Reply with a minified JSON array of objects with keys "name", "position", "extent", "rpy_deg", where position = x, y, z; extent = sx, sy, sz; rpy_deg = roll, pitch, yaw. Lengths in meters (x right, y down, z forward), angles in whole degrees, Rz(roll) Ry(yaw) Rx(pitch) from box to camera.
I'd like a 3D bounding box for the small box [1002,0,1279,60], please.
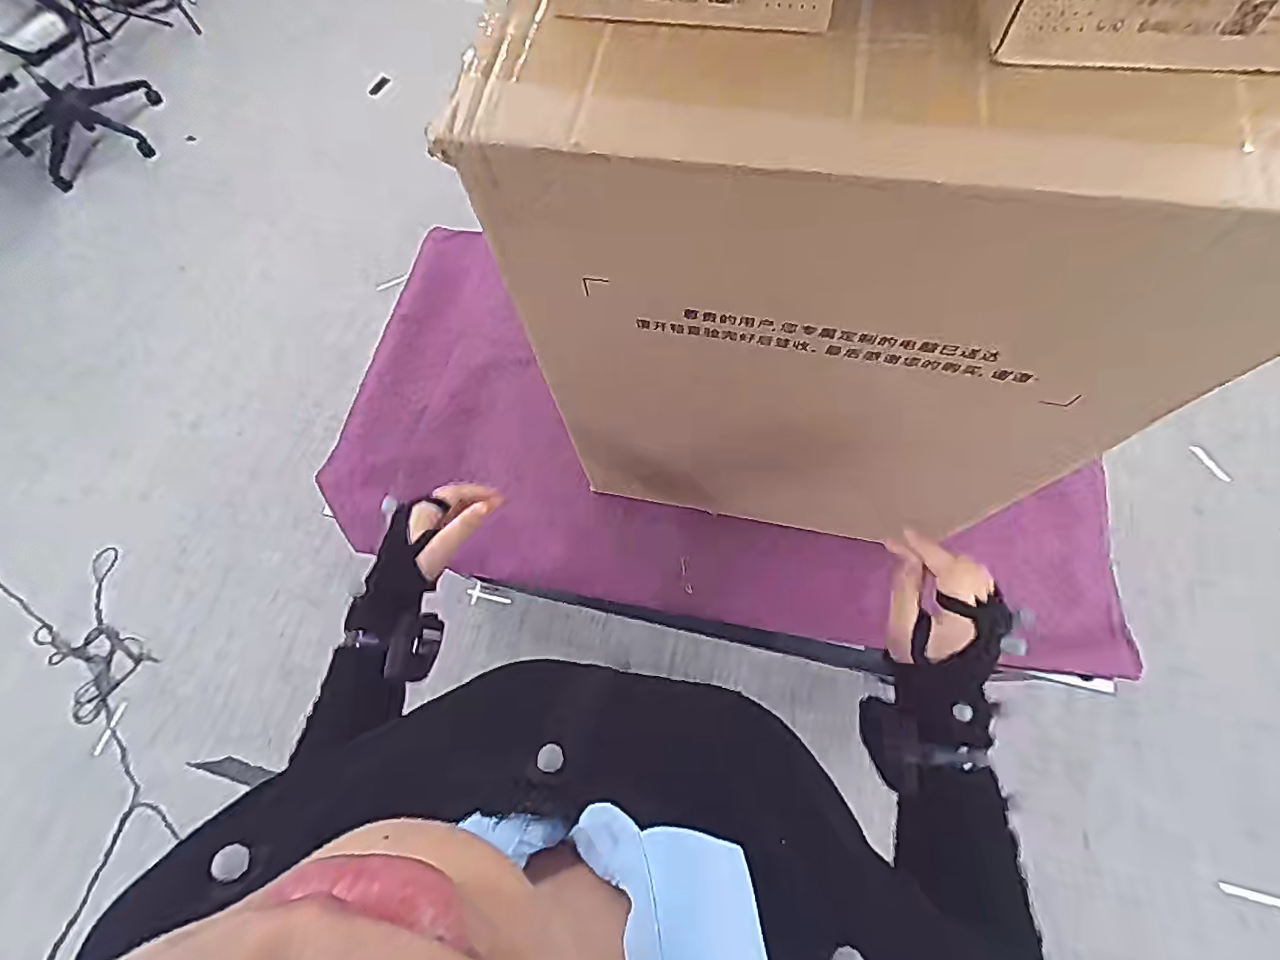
[{"name":"small box","position":[0.282,-0.328,0.232],"extent":[0.168,0.176,0.179],"rpy_deg":[7,70,7]}]
